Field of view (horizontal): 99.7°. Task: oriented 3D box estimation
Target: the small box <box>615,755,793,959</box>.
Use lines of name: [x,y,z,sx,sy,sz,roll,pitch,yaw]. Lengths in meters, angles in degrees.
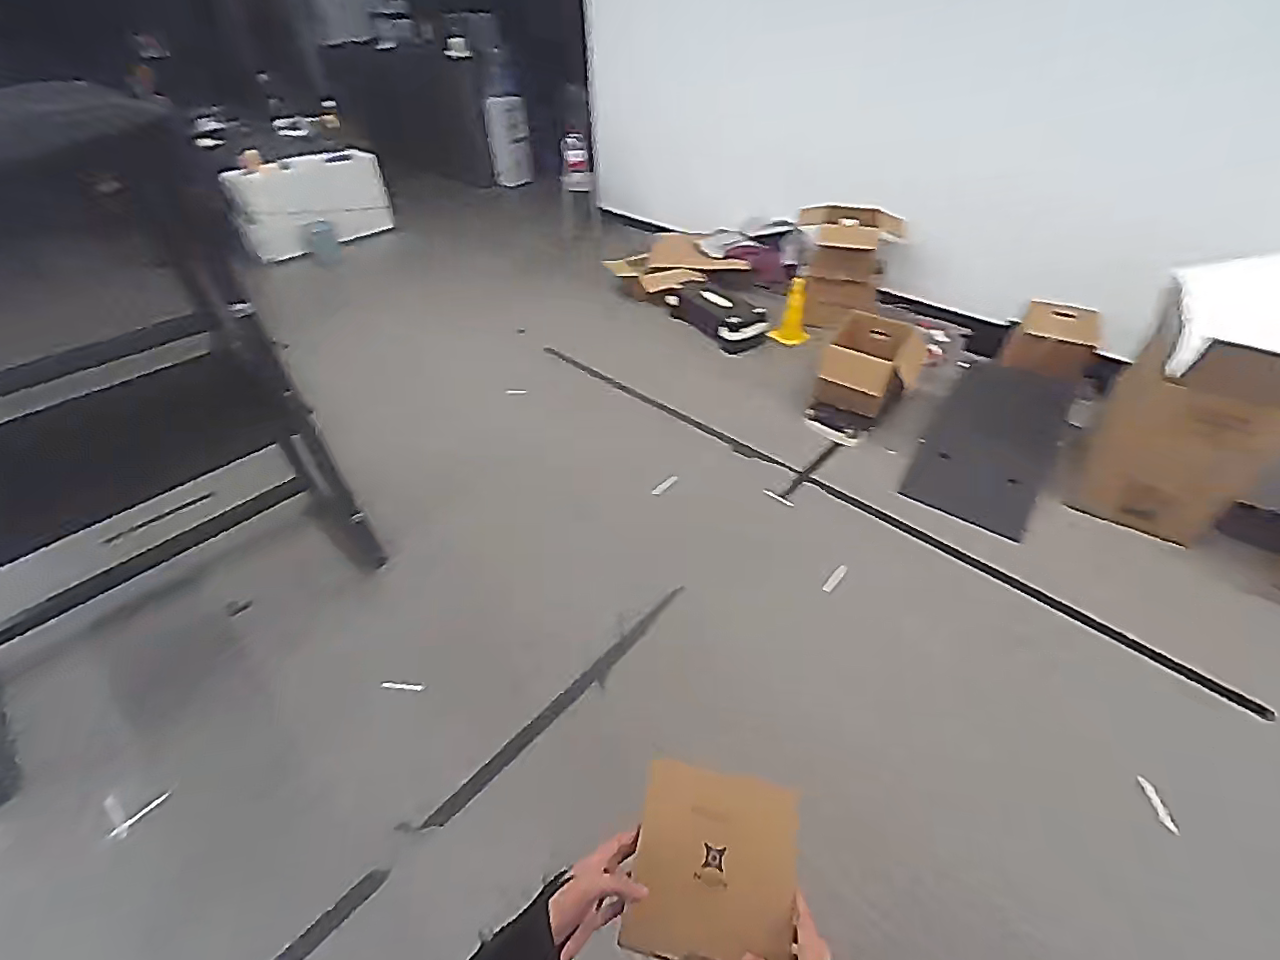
small box: [0.080,0.444,0.623,0.168,0.176,0.179,6,53,12]
